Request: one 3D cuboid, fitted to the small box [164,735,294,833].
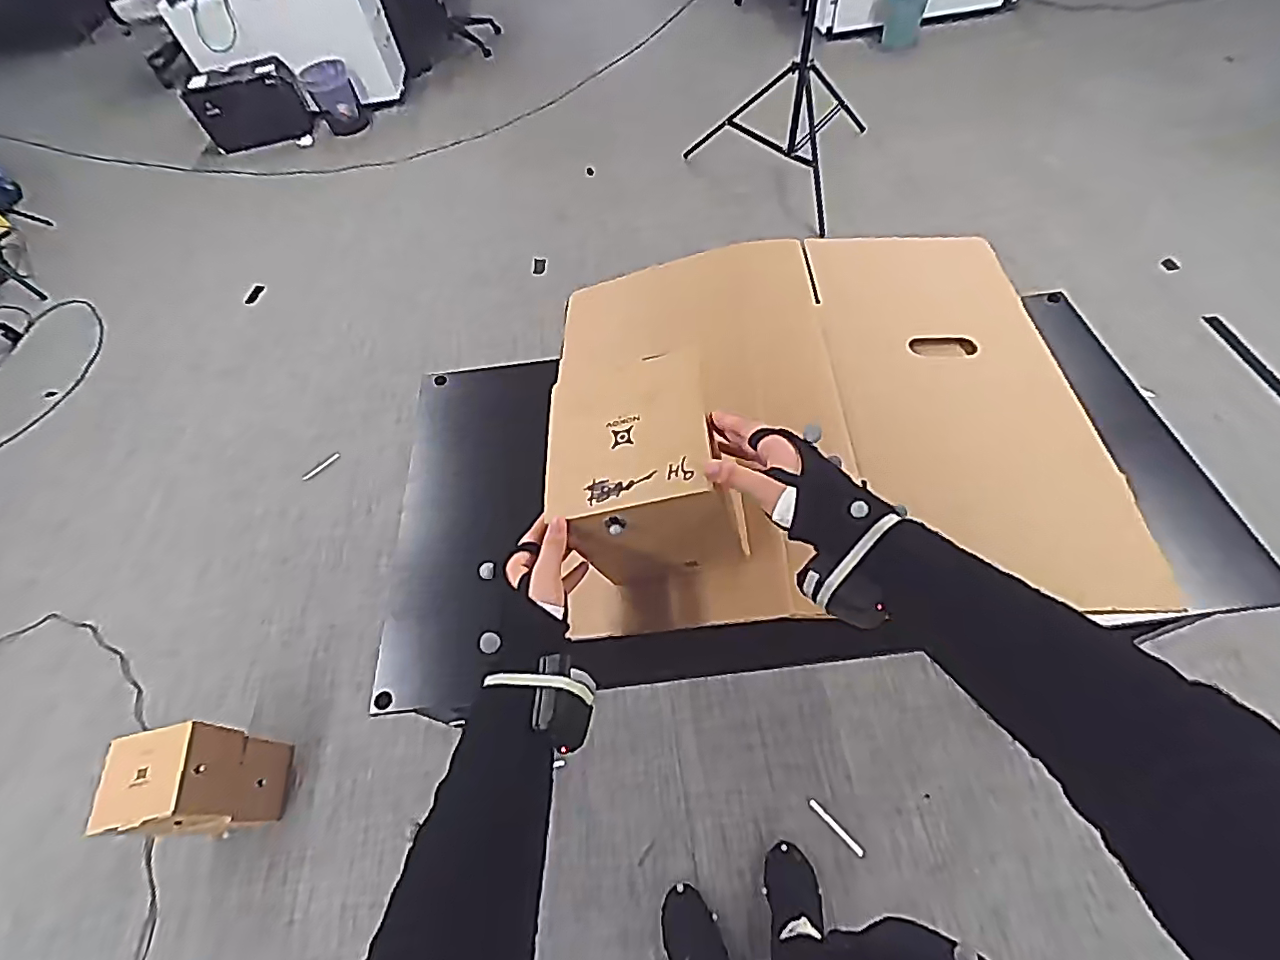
[{"bbox_3d":[-0.960,0.724,1.285,0.168,0.176,0.179,-11,58,-1],"label":"small box"}]

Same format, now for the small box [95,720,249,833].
[{"bbox_3d":[-0.977,0.633,1.151,0.168,0.176,0.179,-13,56,-3],"label":"small box"}]

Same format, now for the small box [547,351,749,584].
[{"bbox_3d":[0.016,-0.006,0.595,0.168,0.176,0.179,-13,55,17],"label":"small box"}]
